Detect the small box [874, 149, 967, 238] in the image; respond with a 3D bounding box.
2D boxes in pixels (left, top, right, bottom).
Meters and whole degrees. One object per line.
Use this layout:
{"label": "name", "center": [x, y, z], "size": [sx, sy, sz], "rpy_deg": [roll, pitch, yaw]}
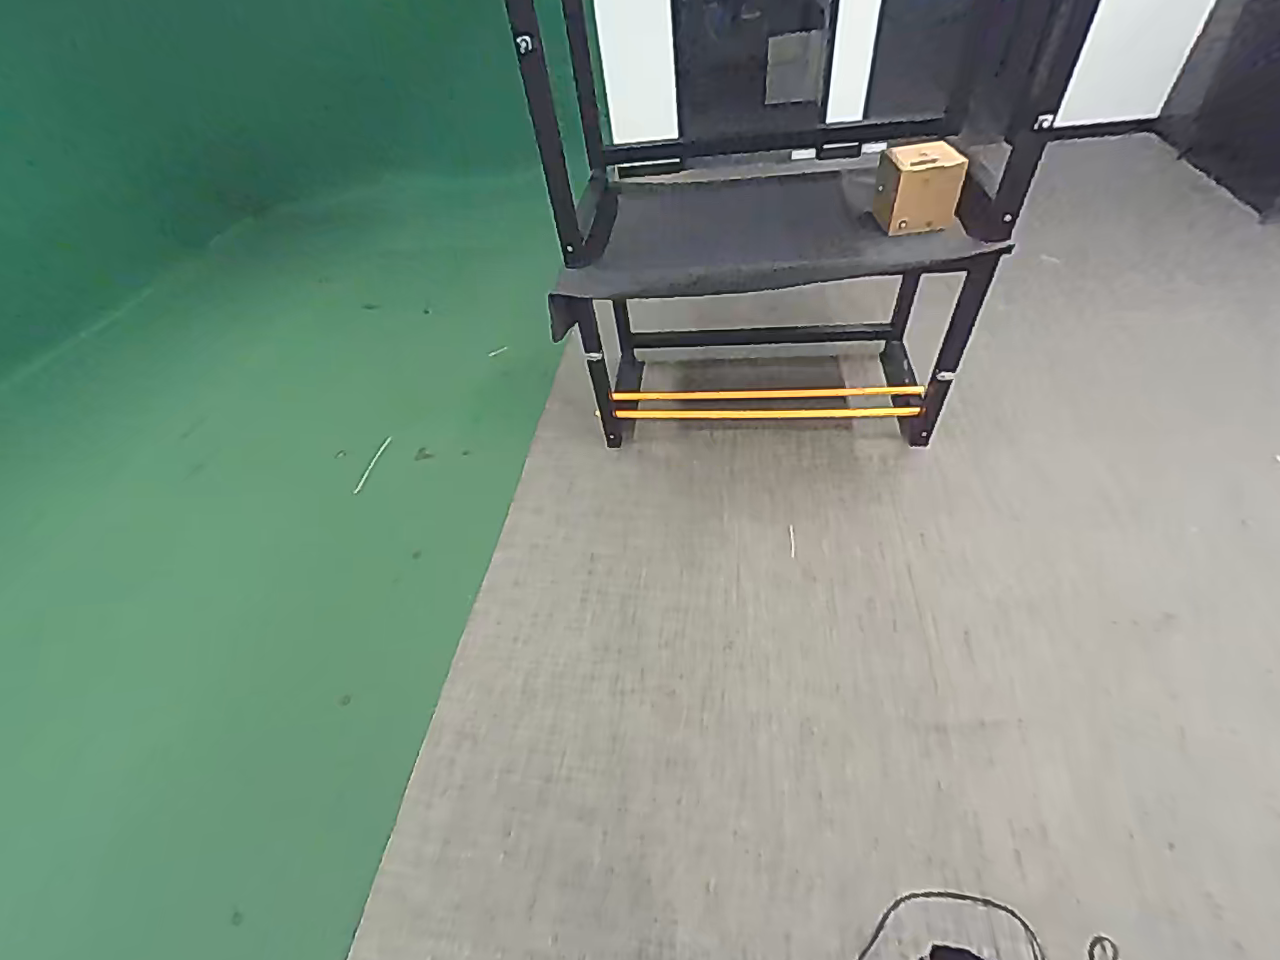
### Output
{"label": "small box", "center": [0.764, -0.783, 1.491], "size": [0.168, 0.176, 0.179], "rpy_deg": [-5, 46, 6]}
